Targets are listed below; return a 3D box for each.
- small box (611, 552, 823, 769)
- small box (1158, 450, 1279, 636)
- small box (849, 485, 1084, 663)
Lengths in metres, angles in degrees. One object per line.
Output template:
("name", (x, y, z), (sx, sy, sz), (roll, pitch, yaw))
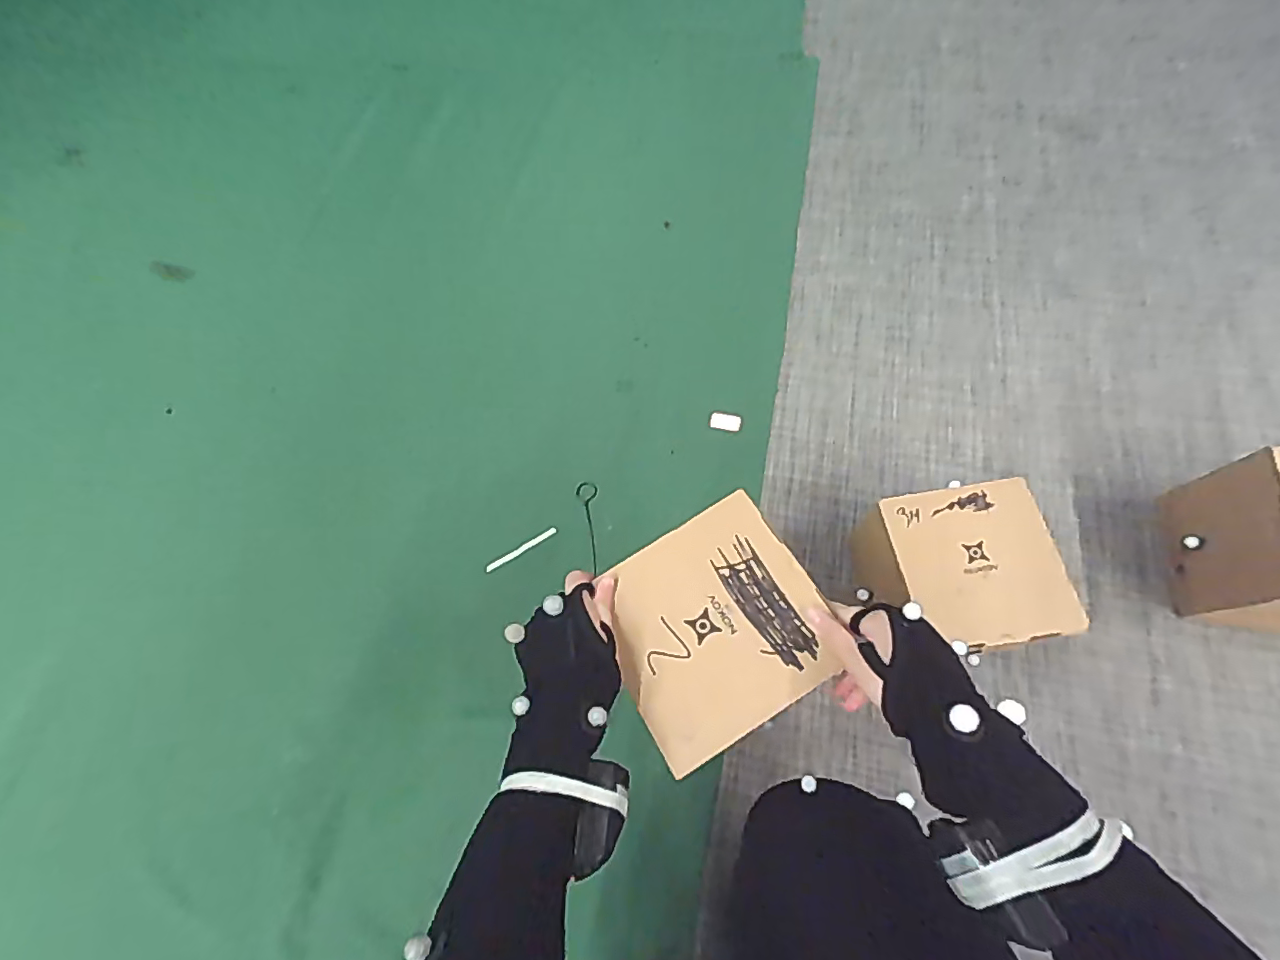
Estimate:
("small box", (0.090, 0.219, 0.658), (0.179, 0.176, 0.168), (-33, 68, -7))
("small box", (0.767, 0.082, 0.620), (0.179, 0.176, 0.168), (6, 68, 9))
("small box", (0.373, 0.125, 0.658), (0.168, 0.176, 0.179), (-9, 67, 4))
